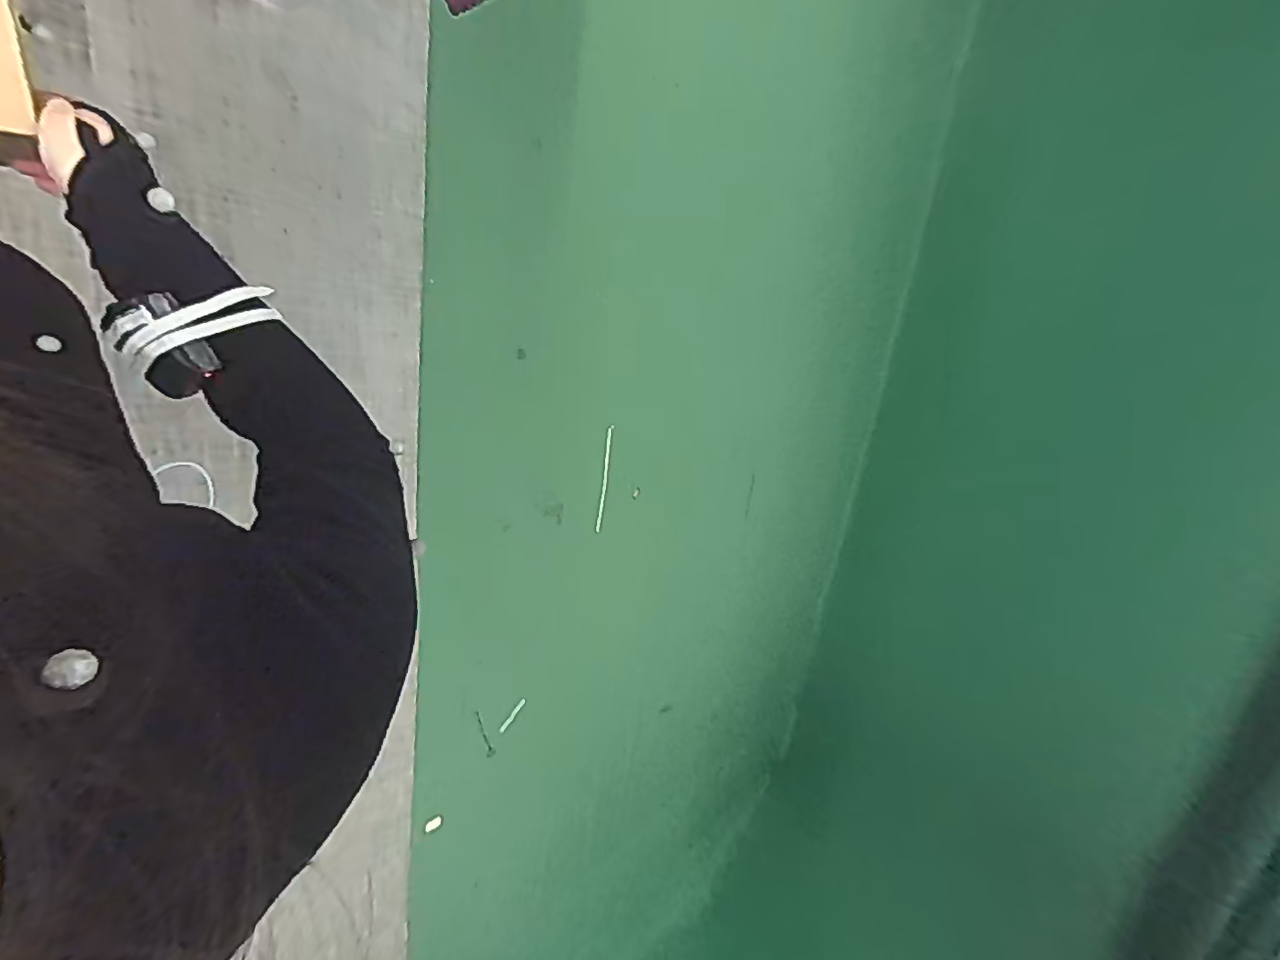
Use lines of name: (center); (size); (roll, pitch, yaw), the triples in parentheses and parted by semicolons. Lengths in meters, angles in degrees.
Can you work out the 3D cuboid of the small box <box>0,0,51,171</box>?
small box: (-0.507, -0.314, 0.335); (0.168, 0.176, 0.179); (-11, 114, -41)
